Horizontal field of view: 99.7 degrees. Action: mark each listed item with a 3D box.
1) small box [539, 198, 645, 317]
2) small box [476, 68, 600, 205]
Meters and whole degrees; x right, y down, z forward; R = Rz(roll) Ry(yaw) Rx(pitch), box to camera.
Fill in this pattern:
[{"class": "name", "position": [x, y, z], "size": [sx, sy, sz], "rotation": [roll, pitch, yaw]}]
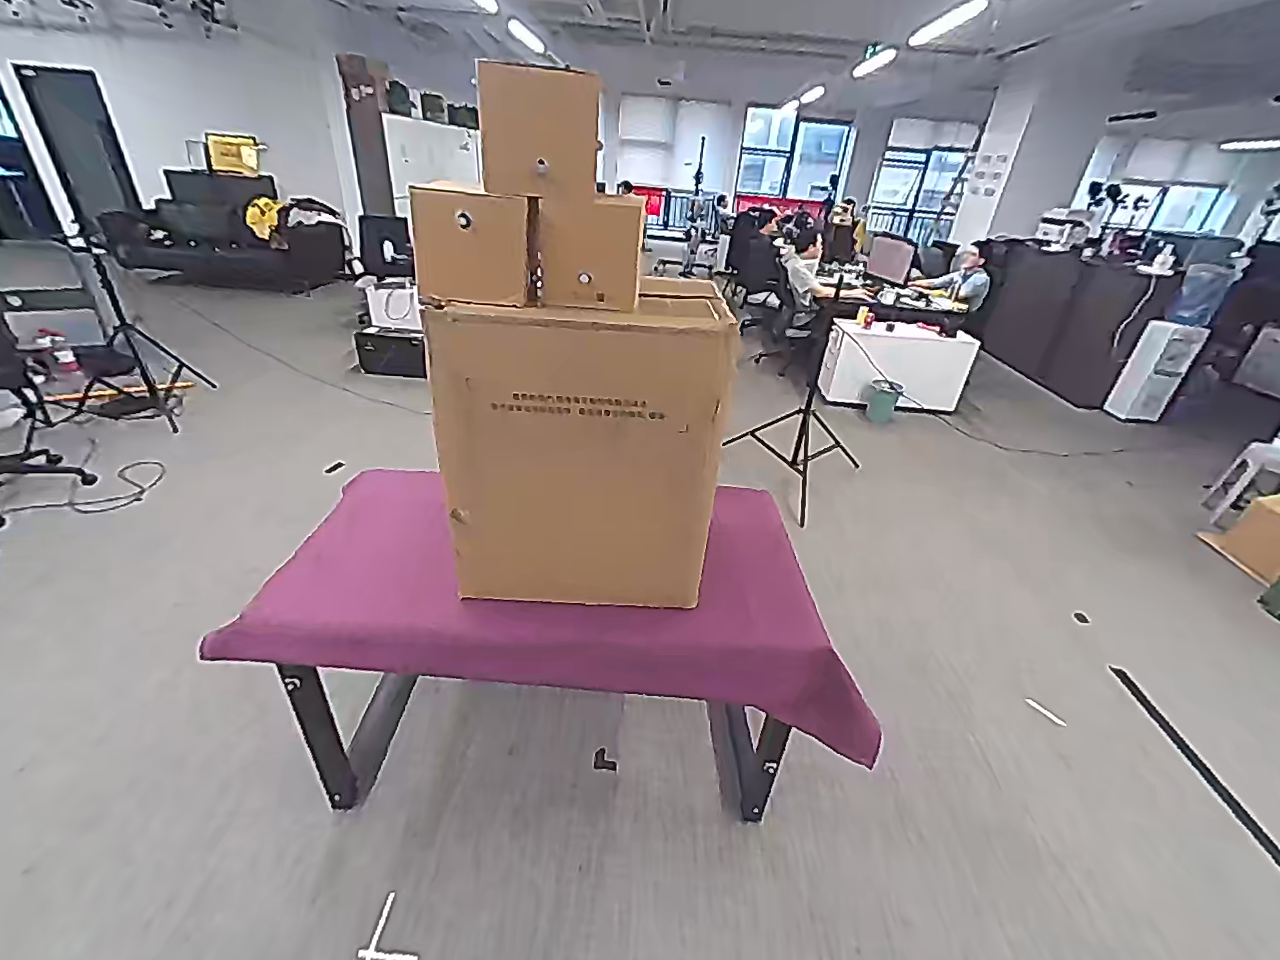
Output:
[{"class": "small box", "position": [-0.082, -0.401, 0.964], "size": [0.168, 0.176, 0.179], "rotation": [4, 32, 0]}, {"class": "small box", "position": [-0.163, -0.544, 0.873], "size": [0.179, 0.176, 0.168], "rotation": [-1, 32, -10]}]
